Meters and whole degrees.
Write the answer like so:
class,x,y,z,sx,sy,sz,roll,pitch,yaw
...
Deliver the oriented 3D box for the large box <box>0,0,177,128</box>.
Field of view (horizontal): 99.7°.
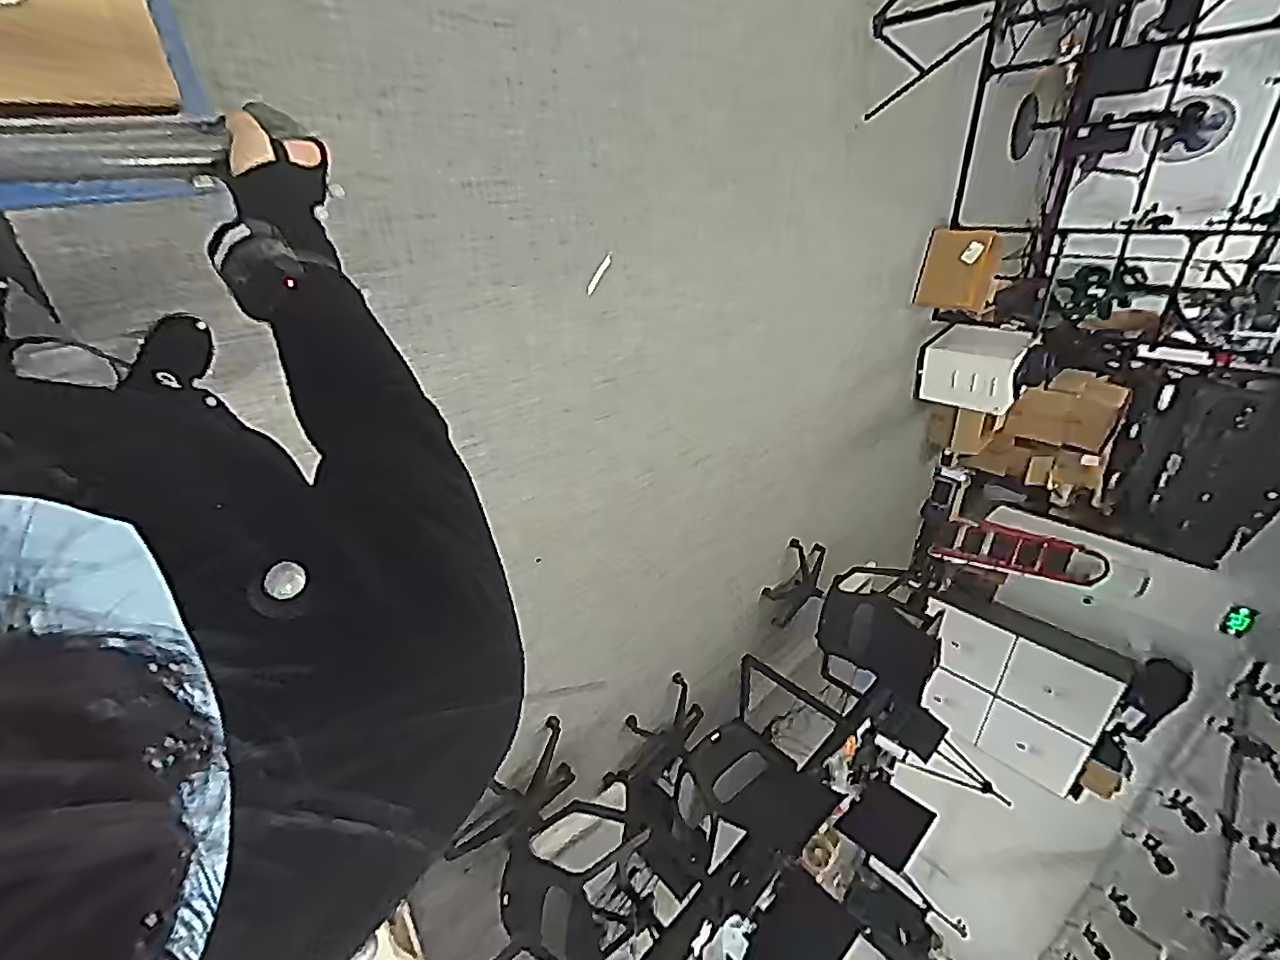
class,x,y,z,sx,sy,sz,roll,pitch,yaw
large box,-0.852,-0.592,0.605,0.408,0.320,0.320,-28,128,-37
